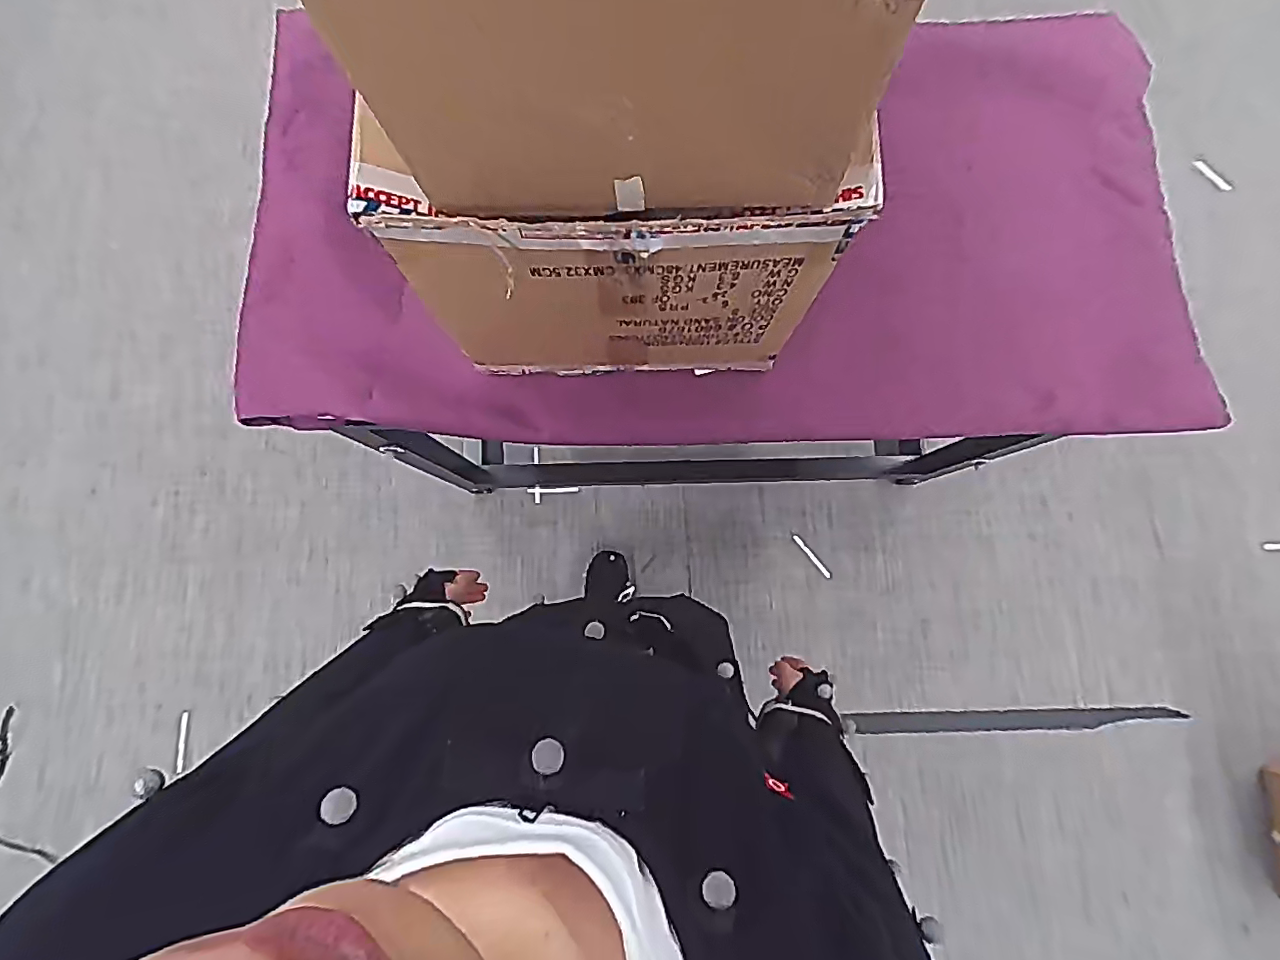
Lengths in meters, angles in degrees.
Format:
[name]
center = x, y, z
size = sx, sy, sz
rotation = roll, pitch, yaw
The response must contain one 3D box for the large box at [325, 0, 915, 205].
[large box]
center = -0.012, -0.435, 0.301
size = 0.320, 0.320, 0.408
rotation = -1, 81, 4
